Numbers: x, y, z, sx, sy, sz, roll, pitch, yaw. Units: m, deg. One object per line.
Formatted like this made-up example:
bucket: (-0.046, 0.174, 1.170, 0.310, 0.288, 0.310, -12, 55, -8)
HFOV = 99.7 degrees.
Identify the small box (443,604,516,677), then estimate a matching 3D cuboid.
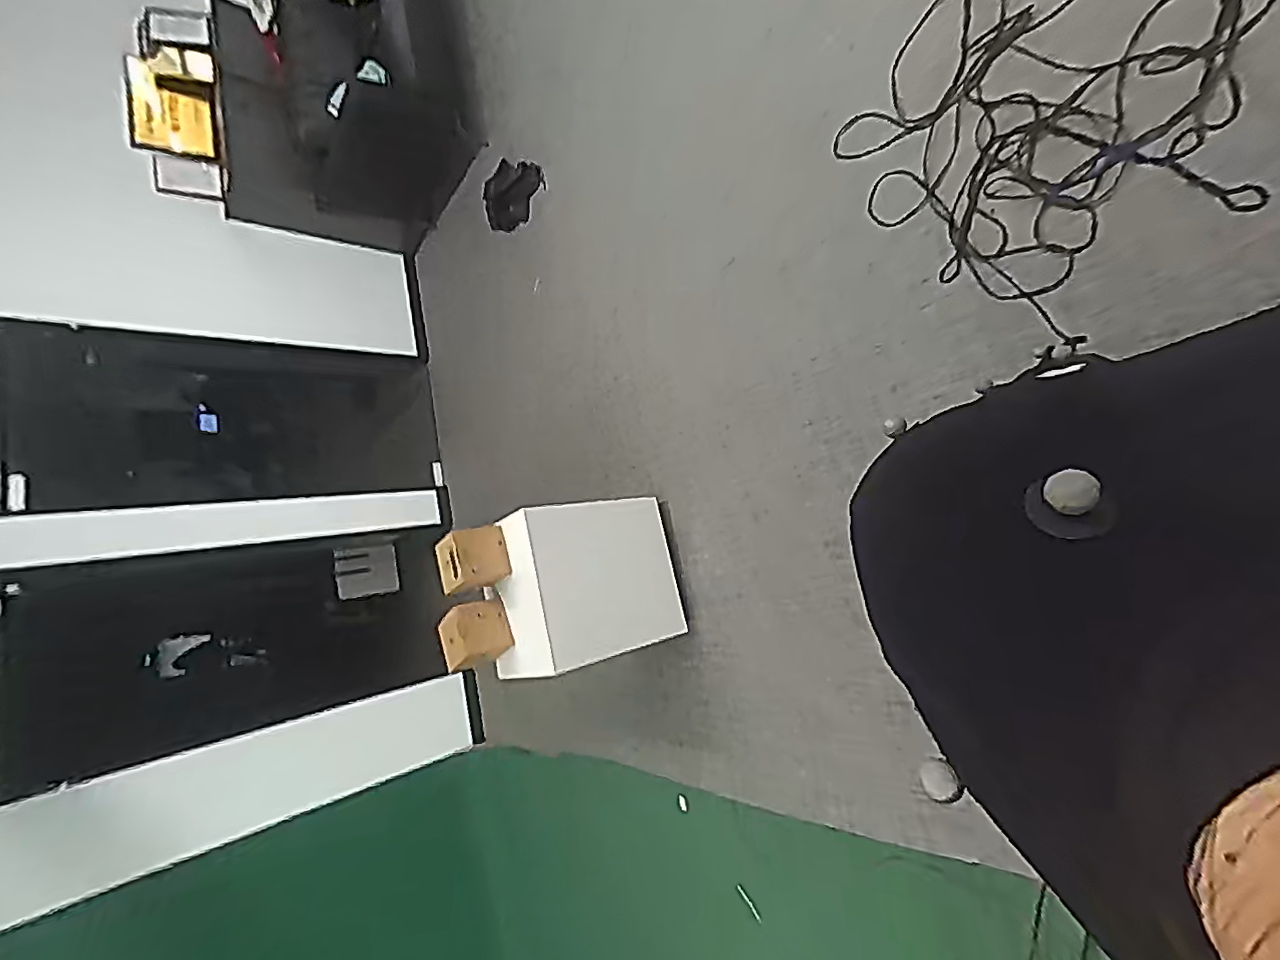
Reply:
small box: (-0.525, 0.526, 1.785, 0.179, 0.176, 0.168, -47, 57, 41)
